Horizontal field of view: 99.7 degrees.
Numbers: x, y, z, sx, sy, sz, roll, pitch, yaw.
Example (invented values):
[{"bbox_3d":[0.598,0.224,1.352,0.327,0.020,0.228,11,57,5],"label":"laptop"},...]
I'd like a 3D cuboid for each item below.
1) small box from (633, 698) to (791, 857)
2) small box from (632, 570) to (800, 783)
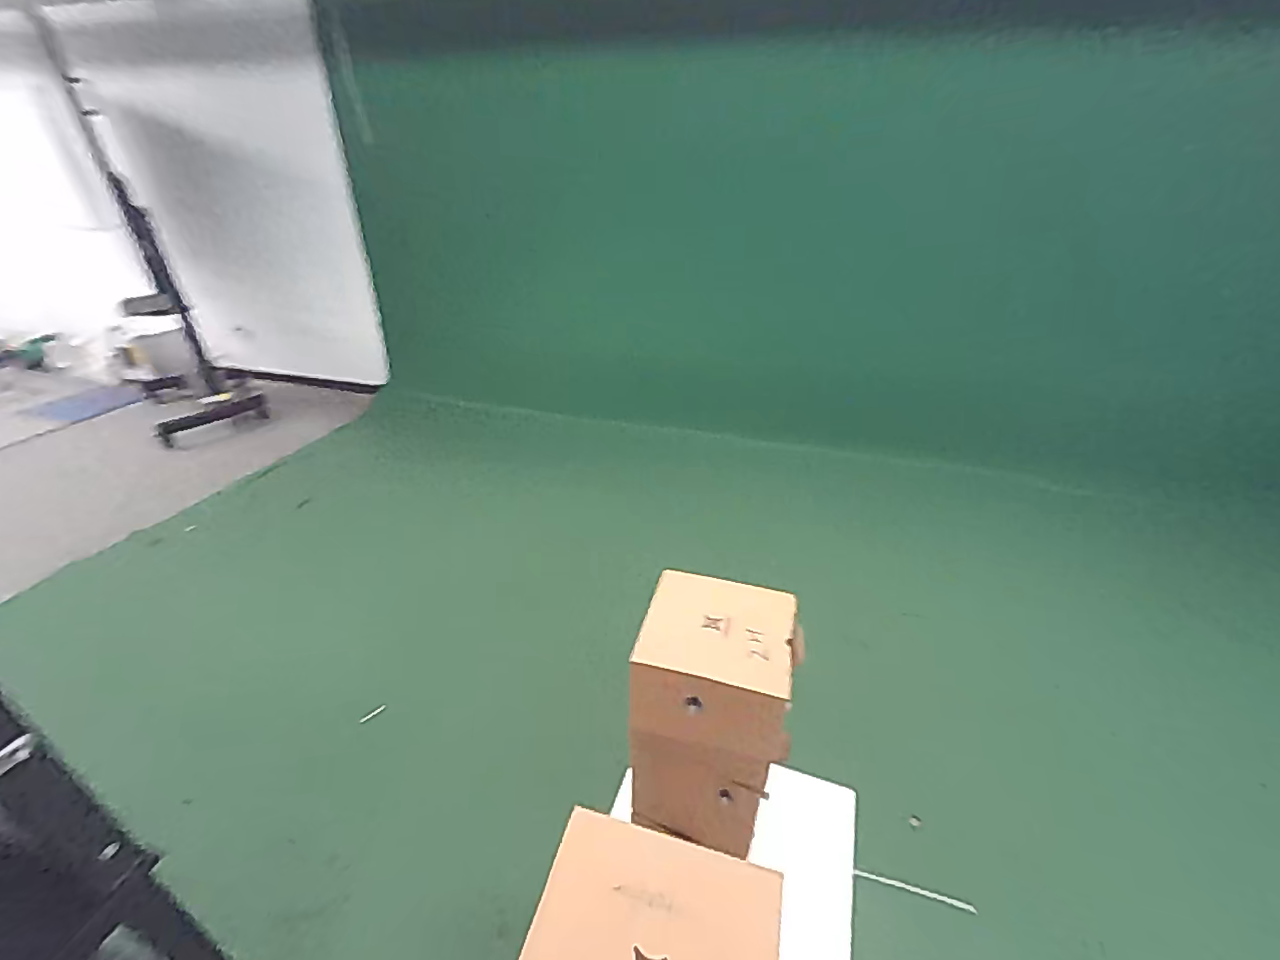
[{"bbox_3d":[0.100,0.383,0.762,0.179,0.176,0.168,14,32,20],"label":"small box"},{"bbox_3d":[0.095,0.242,0.676,0.179,0.176,0.168,10,32,14],"label":"small box"}]
